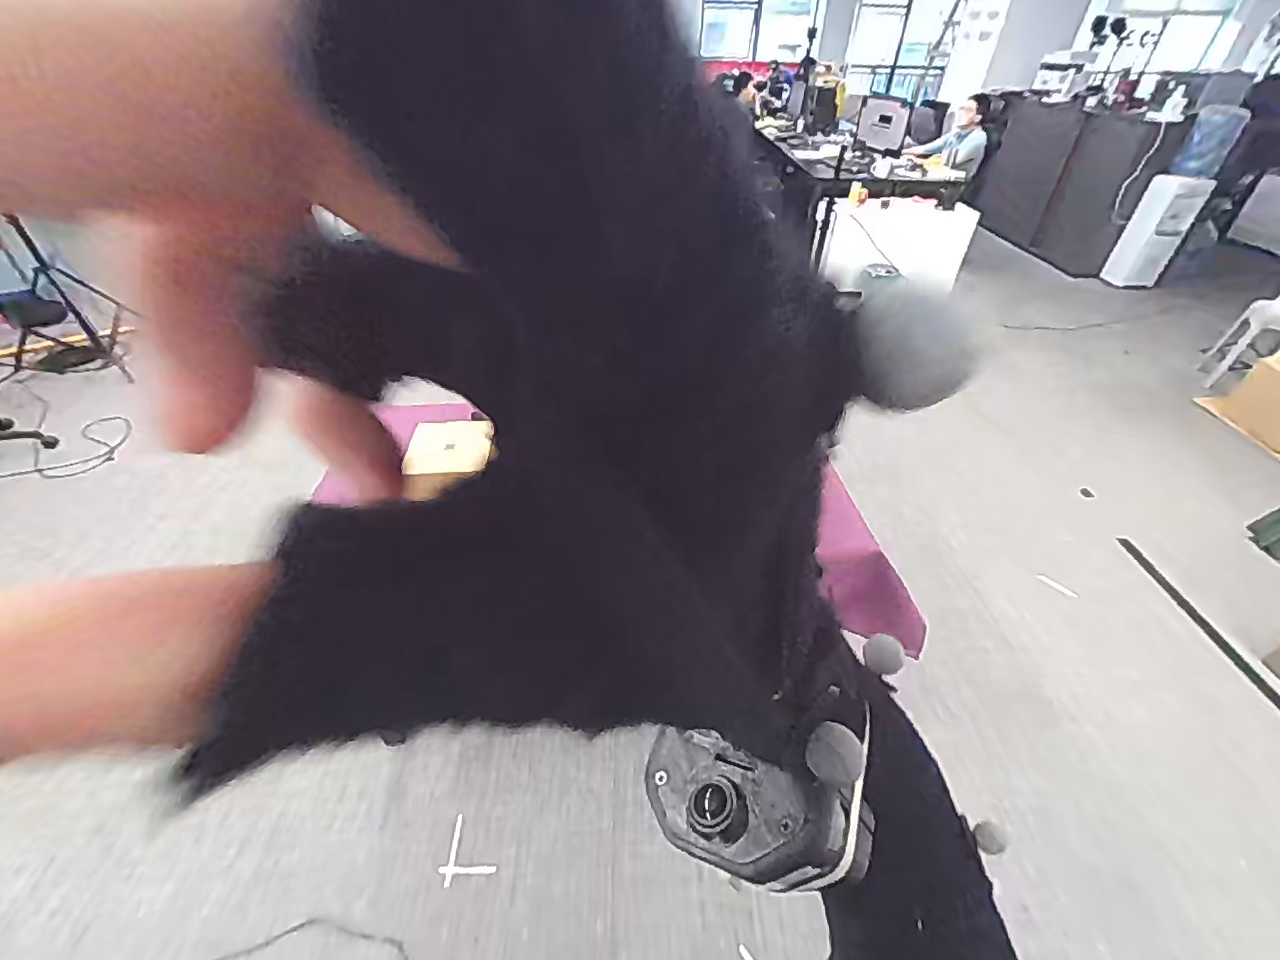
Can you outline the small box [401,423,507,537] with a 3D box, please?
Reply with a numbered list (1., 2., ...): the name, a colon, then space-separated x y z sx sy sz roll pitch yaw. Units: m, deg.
1. small box: -0.379 -0.001 1.140 0.168 0.176 0.179 -3 40 -4
